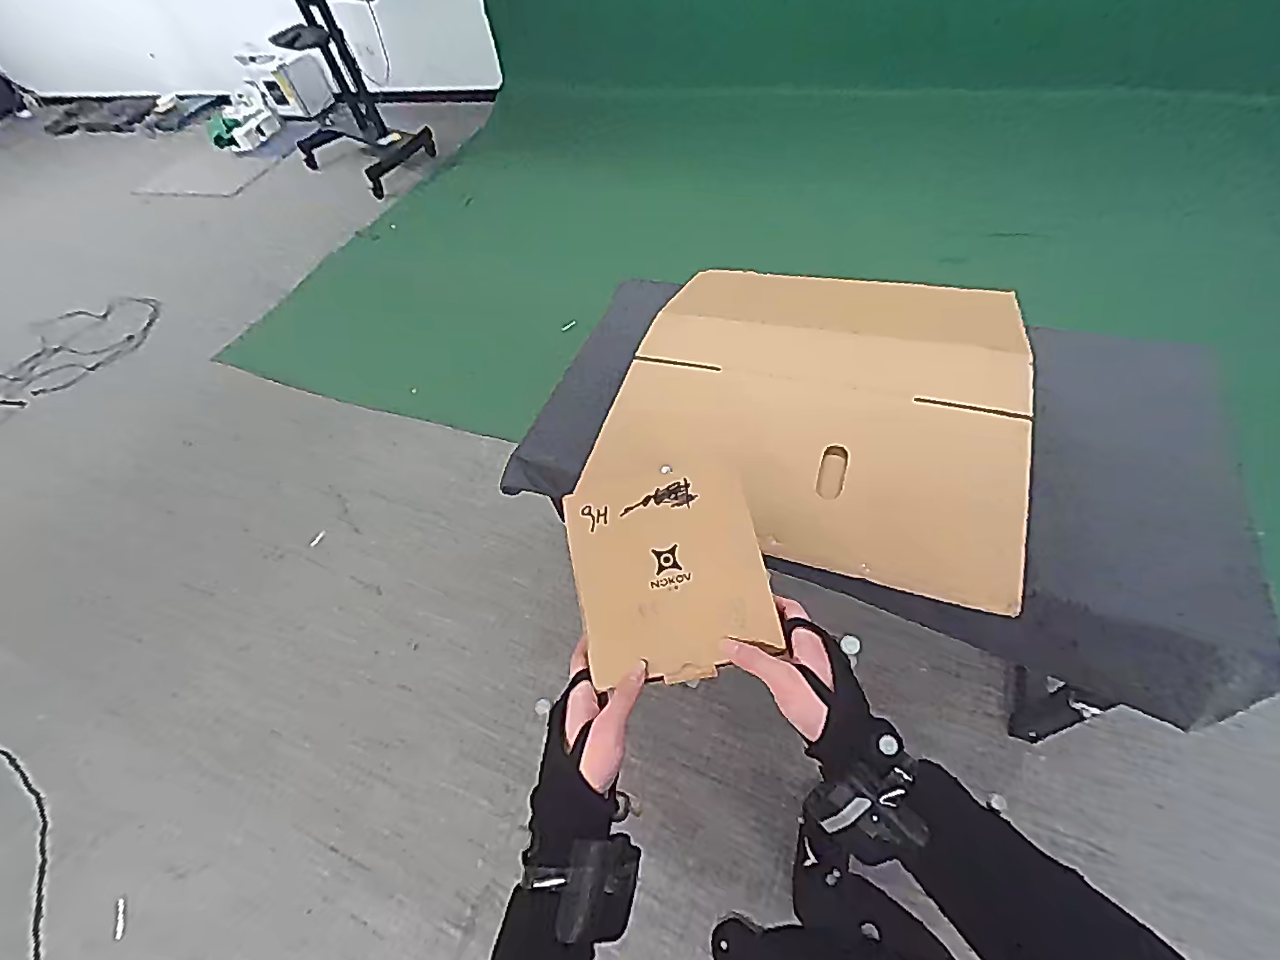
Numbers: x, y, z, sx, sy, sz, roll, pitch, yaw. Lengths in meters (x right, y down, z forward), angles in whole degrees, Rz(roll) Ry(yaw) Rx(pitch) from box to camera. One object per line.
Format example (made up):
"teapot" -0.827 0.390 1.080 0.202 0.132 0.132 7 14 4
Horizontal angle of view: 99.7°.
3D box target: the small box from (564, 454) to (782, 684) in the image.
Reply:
"small box" 0.035 0.096 0.558 0.168 0.176 0.179 -15 72 2
